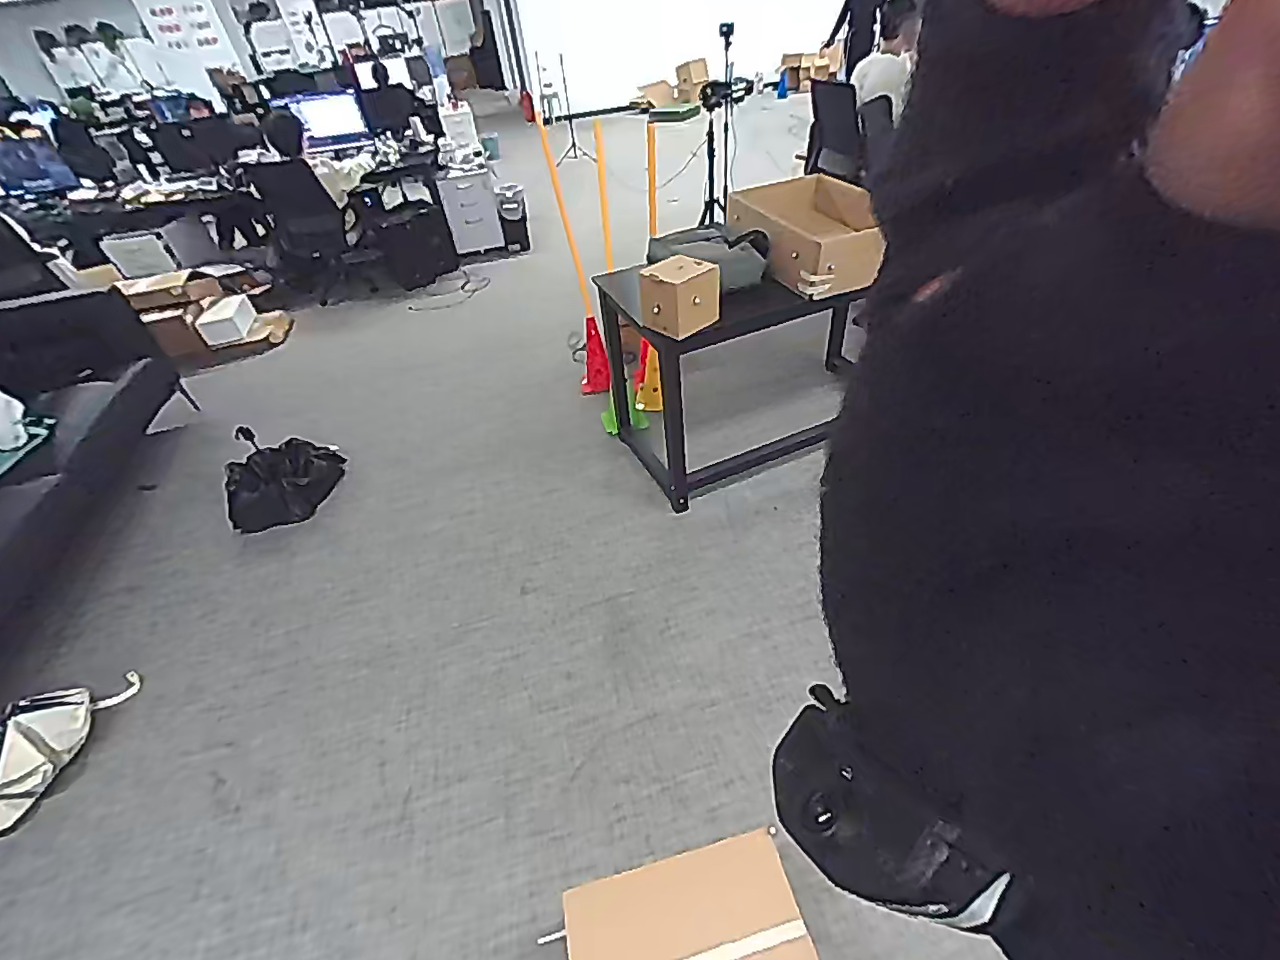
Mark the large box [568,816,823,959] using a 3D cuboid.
[{"bbox_3d":[0.108,0.904,1.008,0.408,0.320,0.320,-14,43,-6],"label":"large box"}]
